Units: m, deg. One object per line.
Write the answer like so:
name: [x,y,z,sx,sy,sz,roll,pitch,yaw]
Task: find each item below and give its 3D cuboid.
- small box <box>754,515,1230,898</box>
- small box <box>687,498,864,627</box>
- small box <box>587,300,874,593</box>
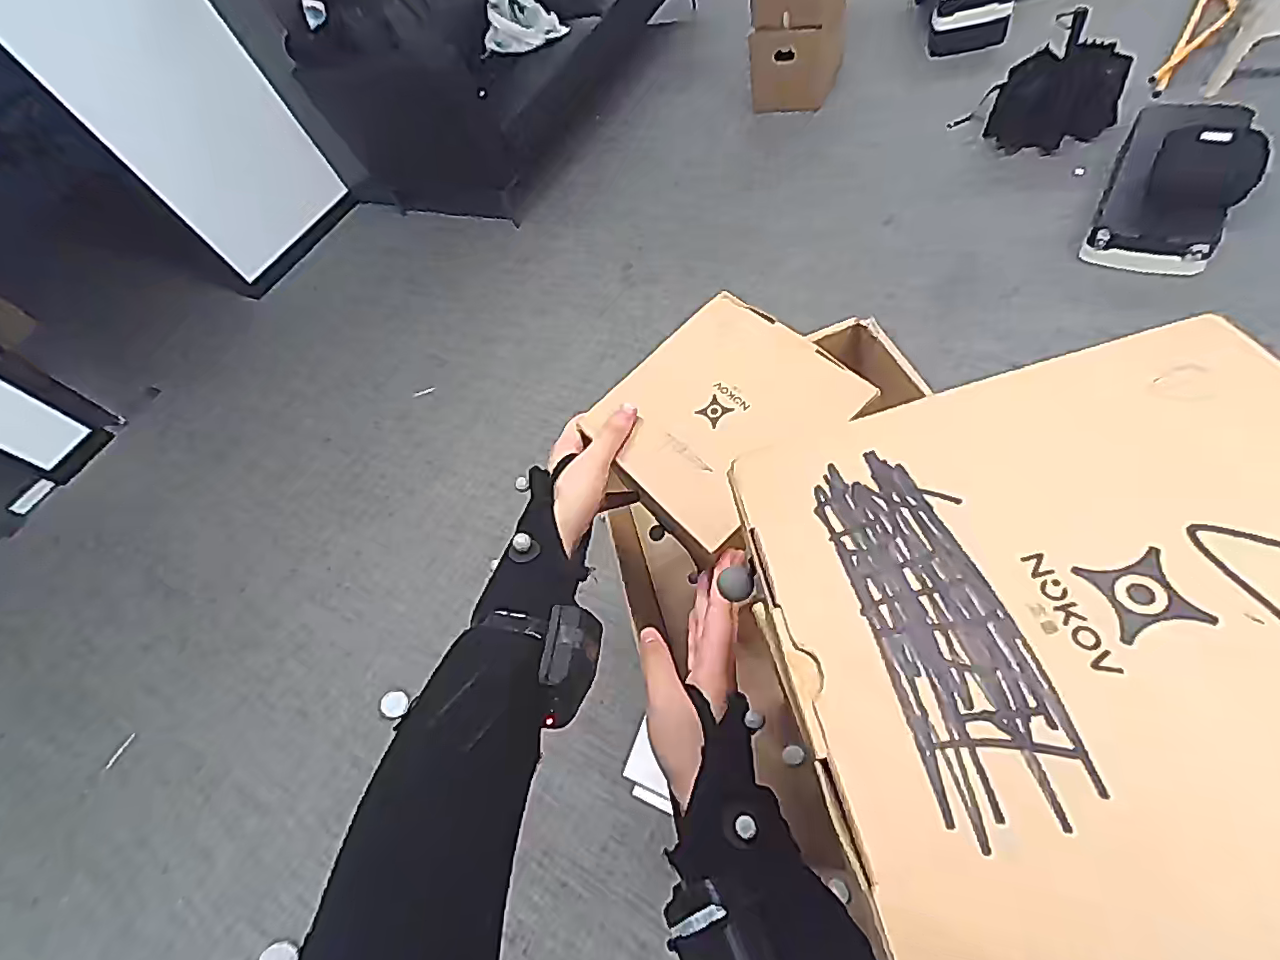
small box: [0.192,0.154,0.362,0.179,0.176,0.168,-20,52,7]
small box: [0.136,0.058,0.640,0.168,0.176,0.179,-29,61,1]
small box: [0.086,-0.023,0.507,0.179,0.176,0.168,-43,60,-5]
